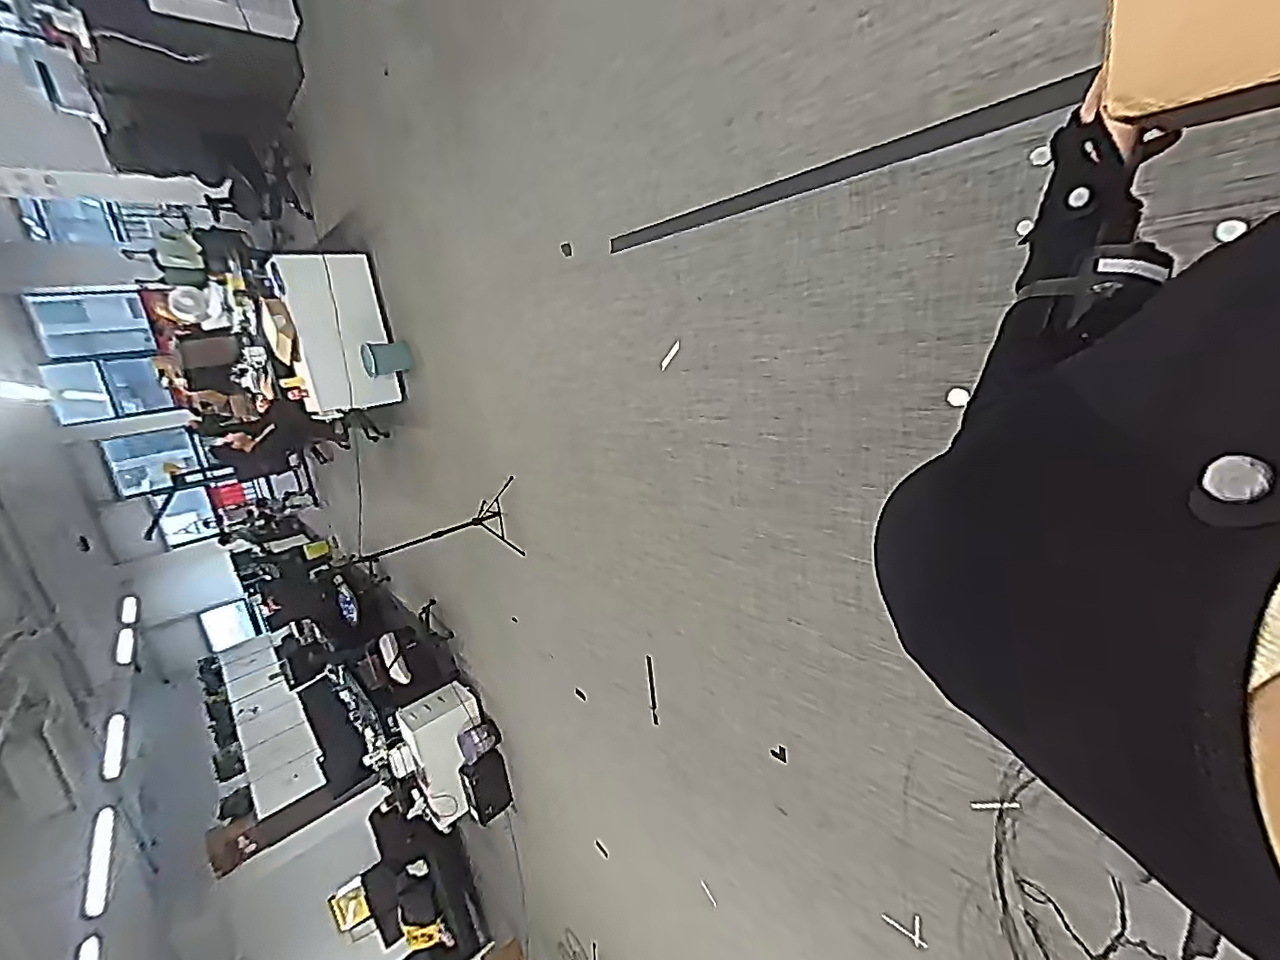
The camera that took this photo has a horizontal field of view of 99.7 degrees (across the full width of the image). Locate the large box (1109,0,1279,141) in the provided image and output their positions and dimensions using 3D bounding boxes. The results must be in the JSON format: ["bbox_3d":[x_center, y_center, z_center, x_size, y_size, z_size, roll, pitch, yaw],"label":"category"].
[{"bbox_3d":[0.424,-0.340,0.159,0.408,0.320,0.320,8,119,44],"label":"large box"}]
